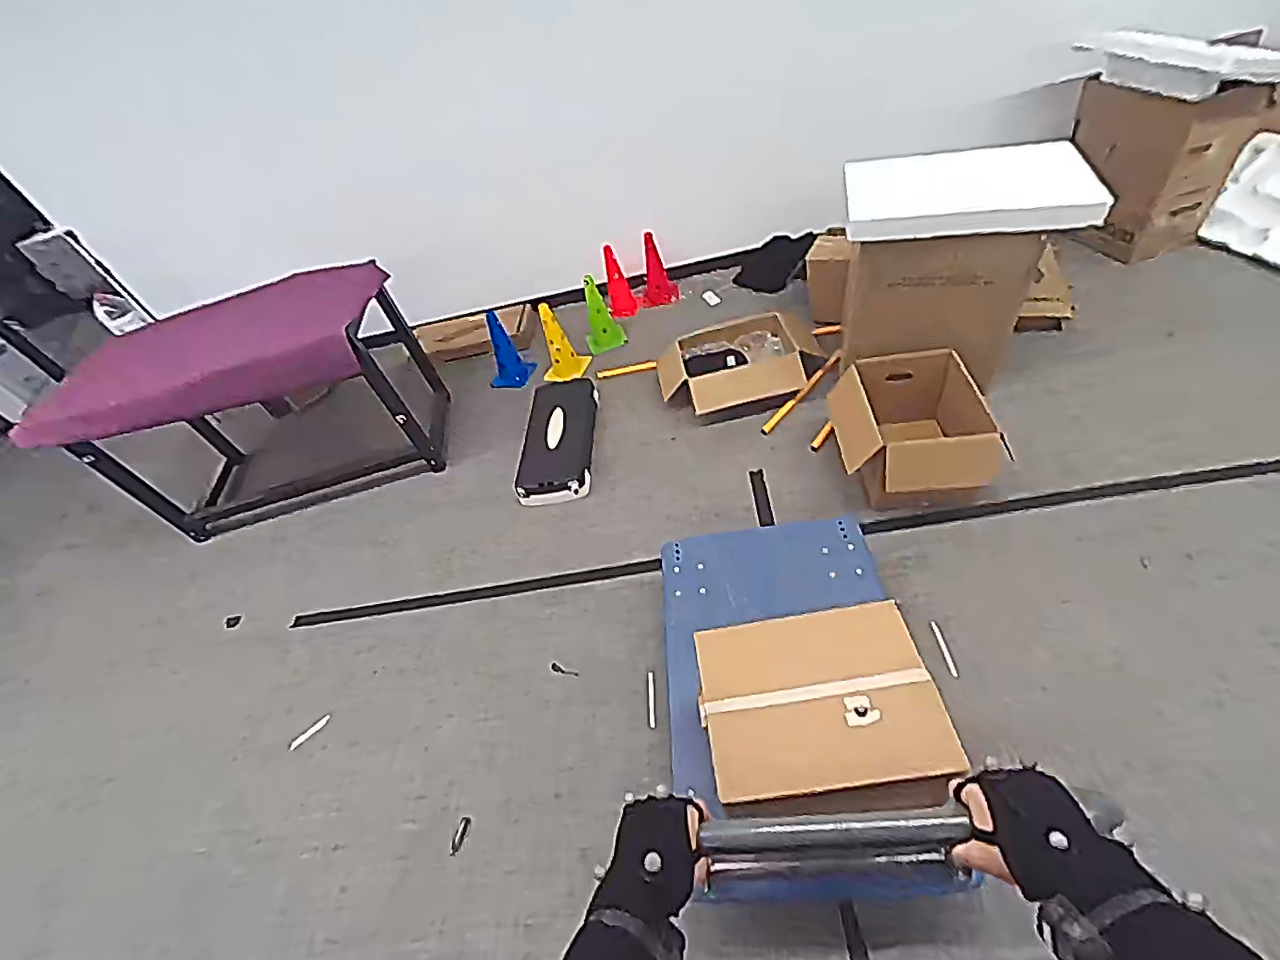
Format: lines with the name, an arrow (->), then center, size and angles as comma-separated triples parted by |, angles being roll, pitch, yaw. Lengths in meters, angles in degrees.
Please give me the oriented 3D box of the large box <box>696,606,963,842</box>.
large box -> 0.347, 0.499, 1.096 | 0.408, 0.320, 0.320 | -11, 46, 5
